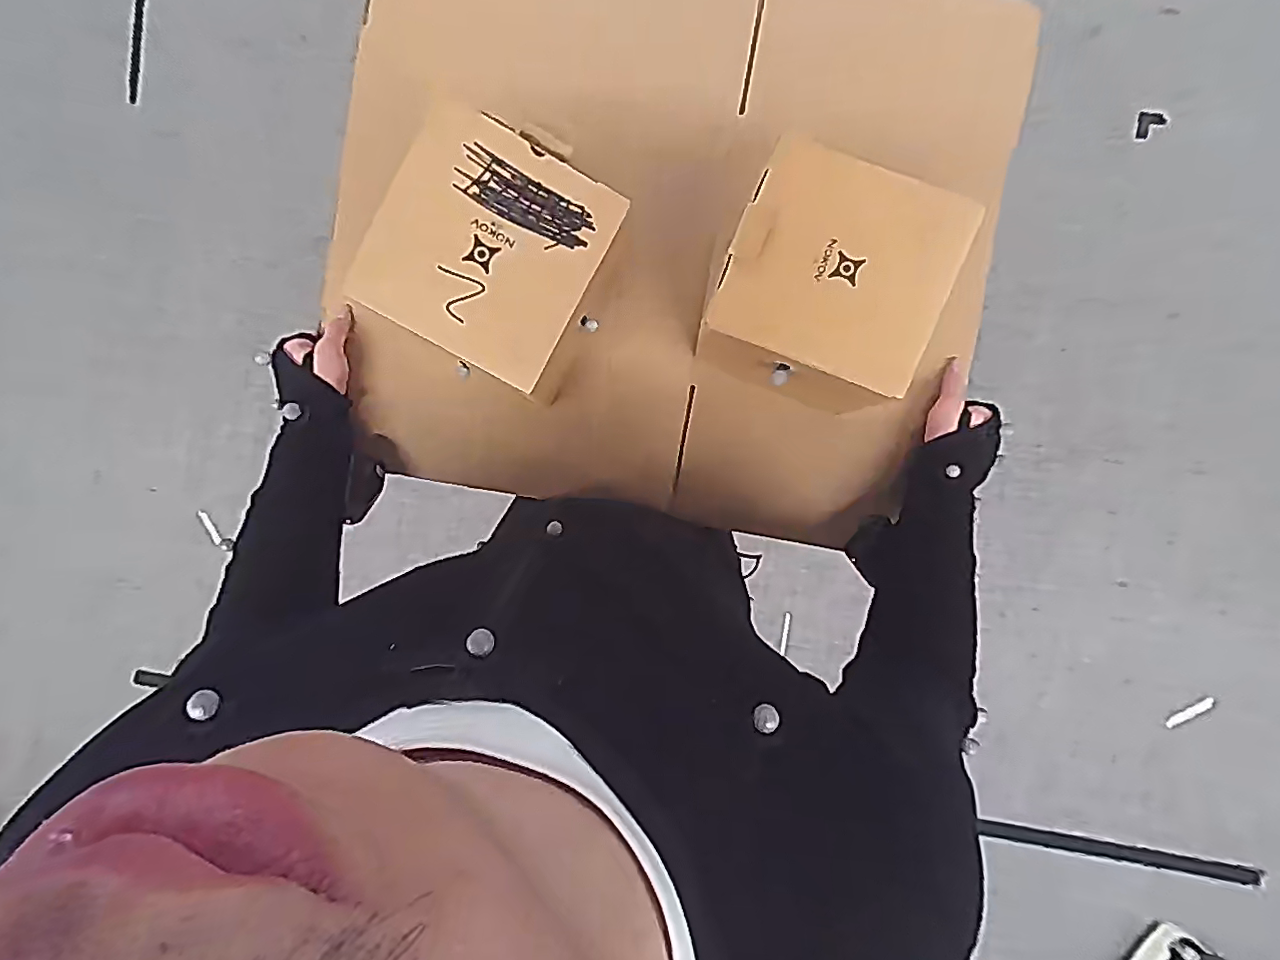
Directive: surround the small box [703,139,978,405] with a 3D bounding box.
[{"bbox_3d":[0.172,-0.180,0.527,0.179,0.176,0.168,23,94,4],"label":"small box"}]
